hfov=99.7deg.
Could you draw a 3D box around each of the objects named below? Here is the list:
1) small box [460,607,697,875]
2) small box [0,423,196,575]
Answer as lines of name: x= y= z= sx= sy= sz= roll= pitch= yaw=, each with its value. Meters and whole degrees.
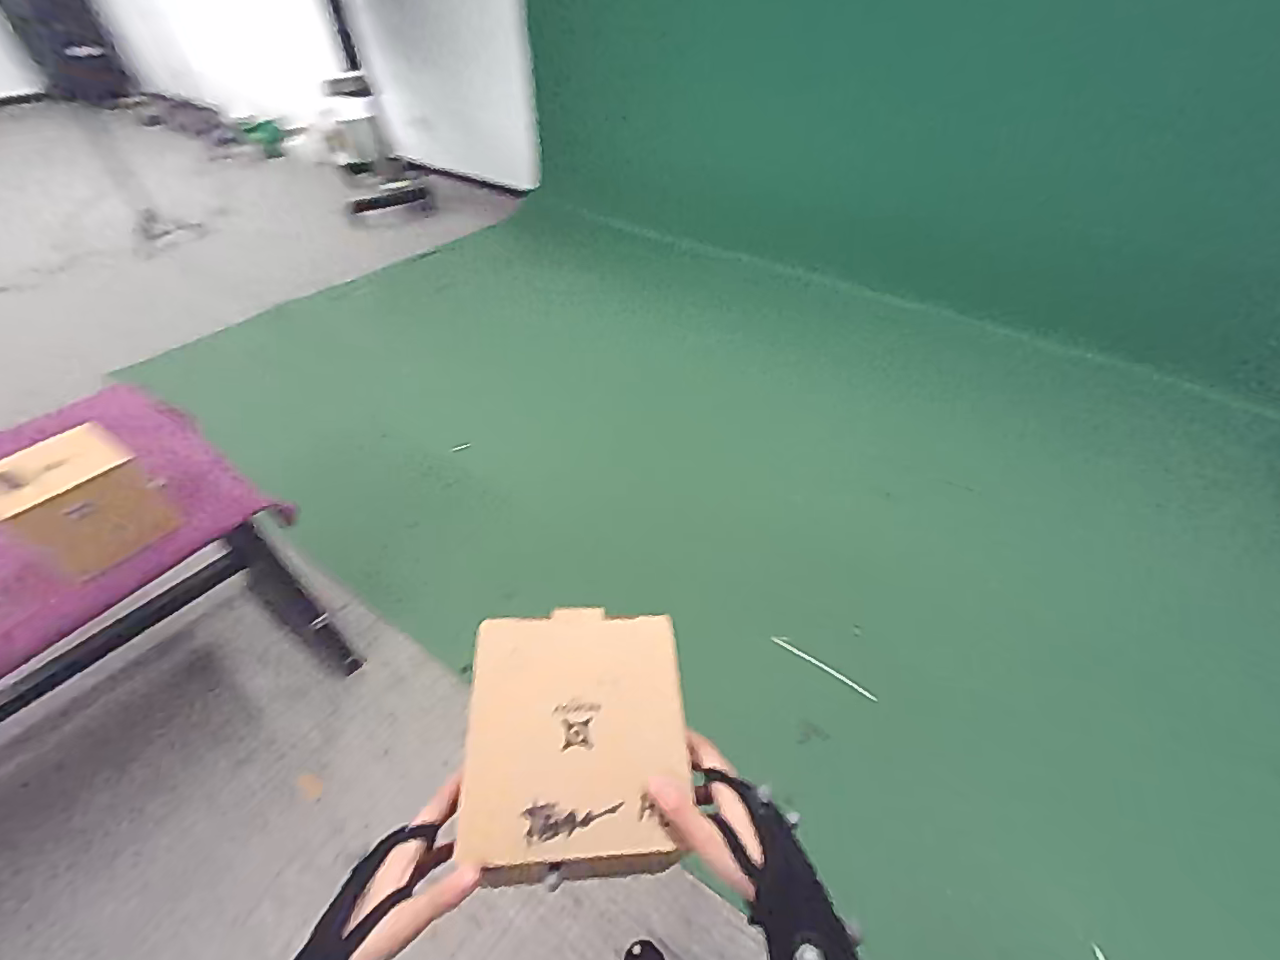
small box: x=-0.055 y=0.231 z=0.482 sx=0.168 sy=0.176 sz=0.179 roll=0 pitch=50 yaw=-8
small box: x=-0.955 y=0.036 z=0.957 sx=0.168 sy=0.176 sz=0.179 roll=27 pitch=51 yaw=23
